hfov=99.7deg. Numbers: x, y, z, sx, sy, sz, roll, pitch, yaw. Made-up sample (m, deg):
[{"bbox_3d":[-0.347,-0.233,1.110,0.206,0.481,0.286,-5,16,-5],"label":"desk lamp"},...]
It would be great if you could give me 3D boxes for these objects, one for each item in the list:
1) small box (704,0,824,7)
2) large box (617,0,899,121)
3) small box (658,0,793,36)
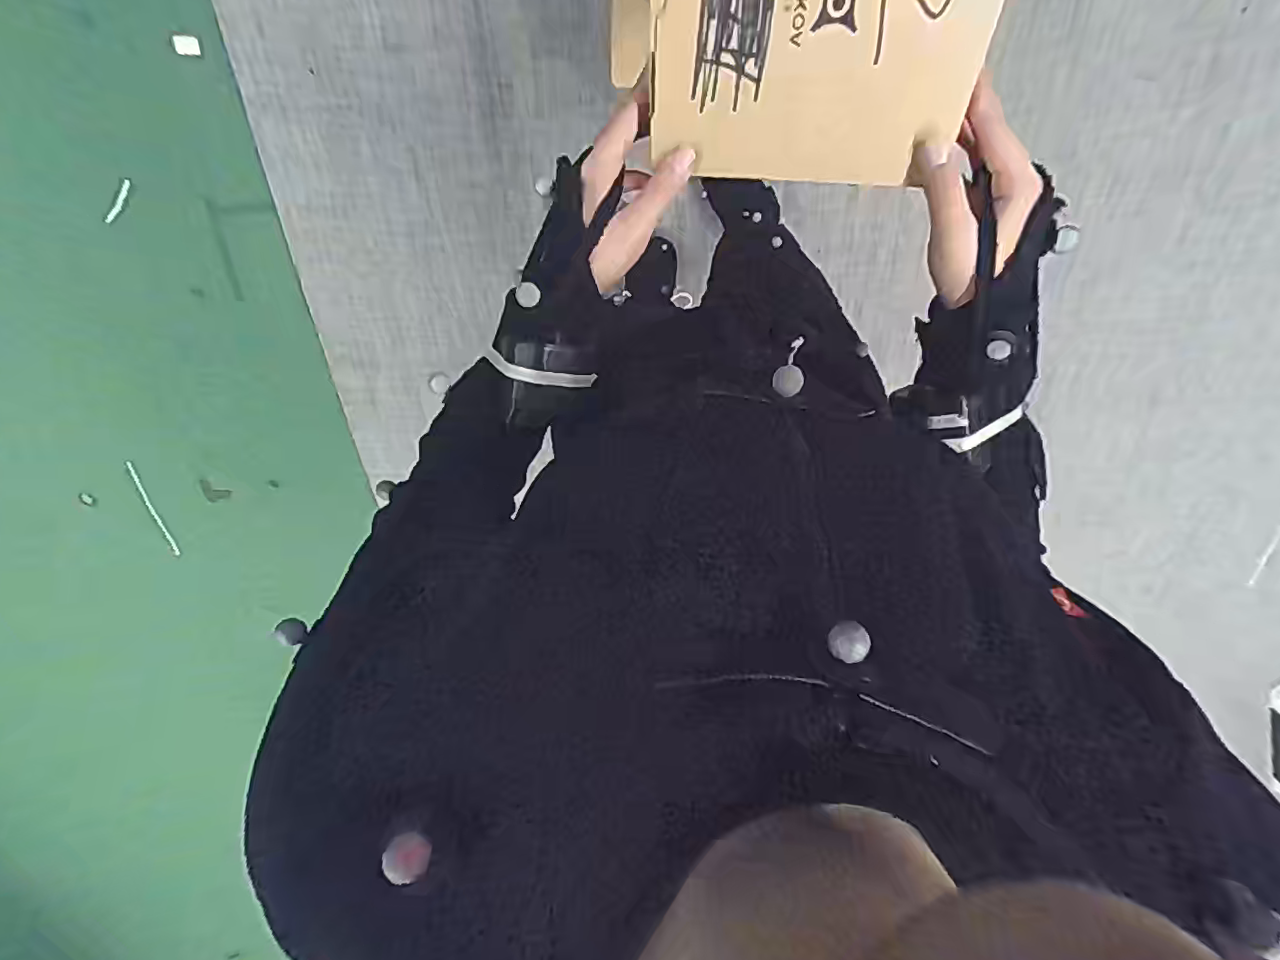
[{"bbox_3d":[0.133,-0.583,0.514,0.168,0.176,0.179,0,117,-1],"label":"small box"},{"bbox_3d":[0.166,-0.780,0.867,0.408,0.320,0.320,2,119,-1],"label":"large box"},{"bbox_3d":[0.118,-0.669,0.652,0.179,0.176,0.168,7,118,-3],"label":"small box"}]
